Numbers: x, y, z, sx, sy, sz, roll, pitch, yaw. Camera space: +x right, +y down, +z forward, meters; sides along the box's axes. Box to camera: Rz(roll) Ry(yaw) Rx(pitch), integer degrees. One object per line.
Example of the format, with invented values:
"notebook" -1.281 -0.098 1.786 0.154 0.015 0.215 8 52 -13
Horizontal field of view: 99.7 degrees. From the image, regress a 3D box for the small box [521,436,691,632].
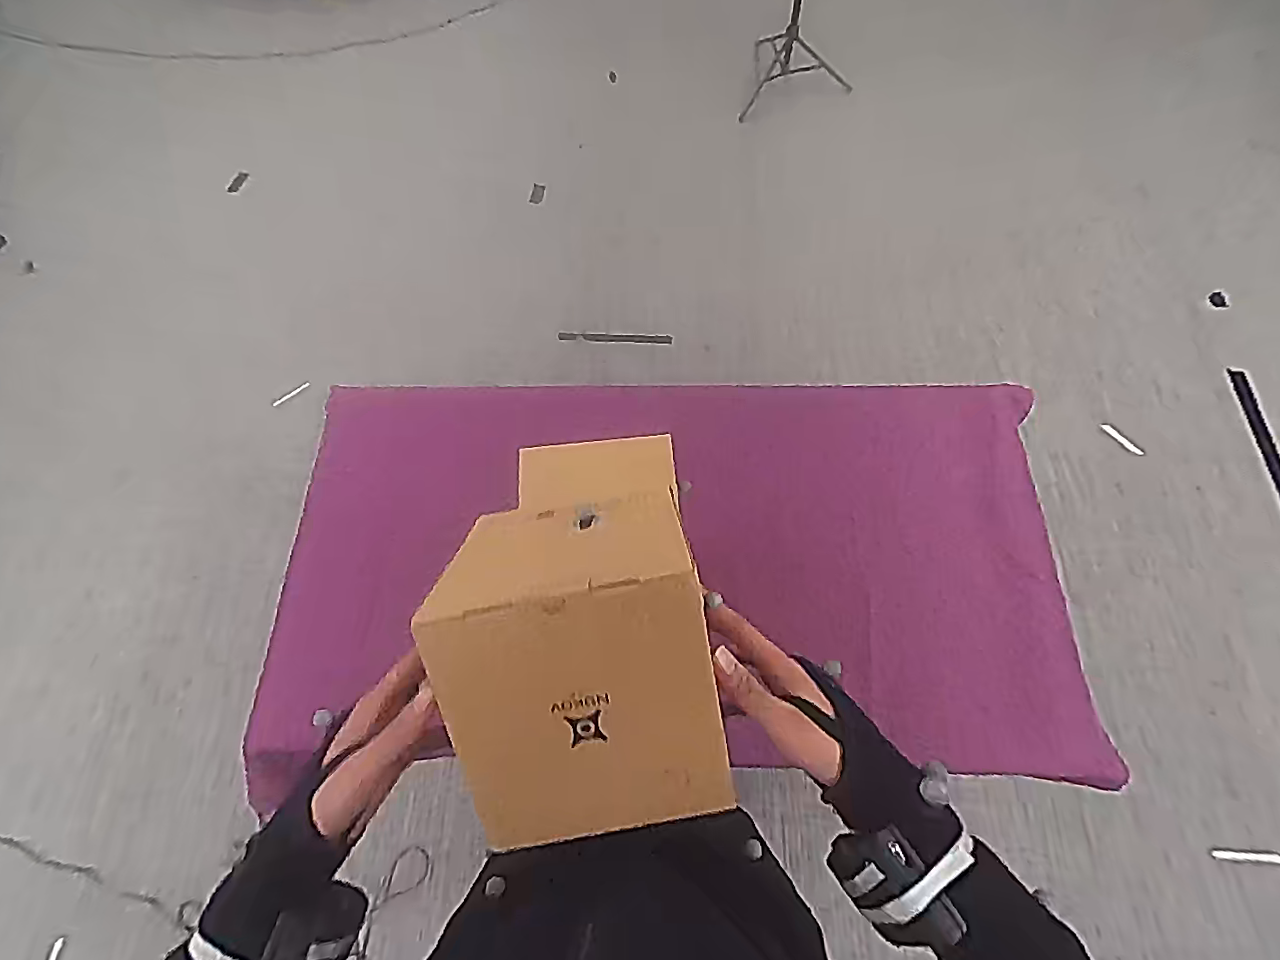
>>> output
"small box" -0.034 0.069 0.621 0.168 0.176 0.179 -5 67 2
